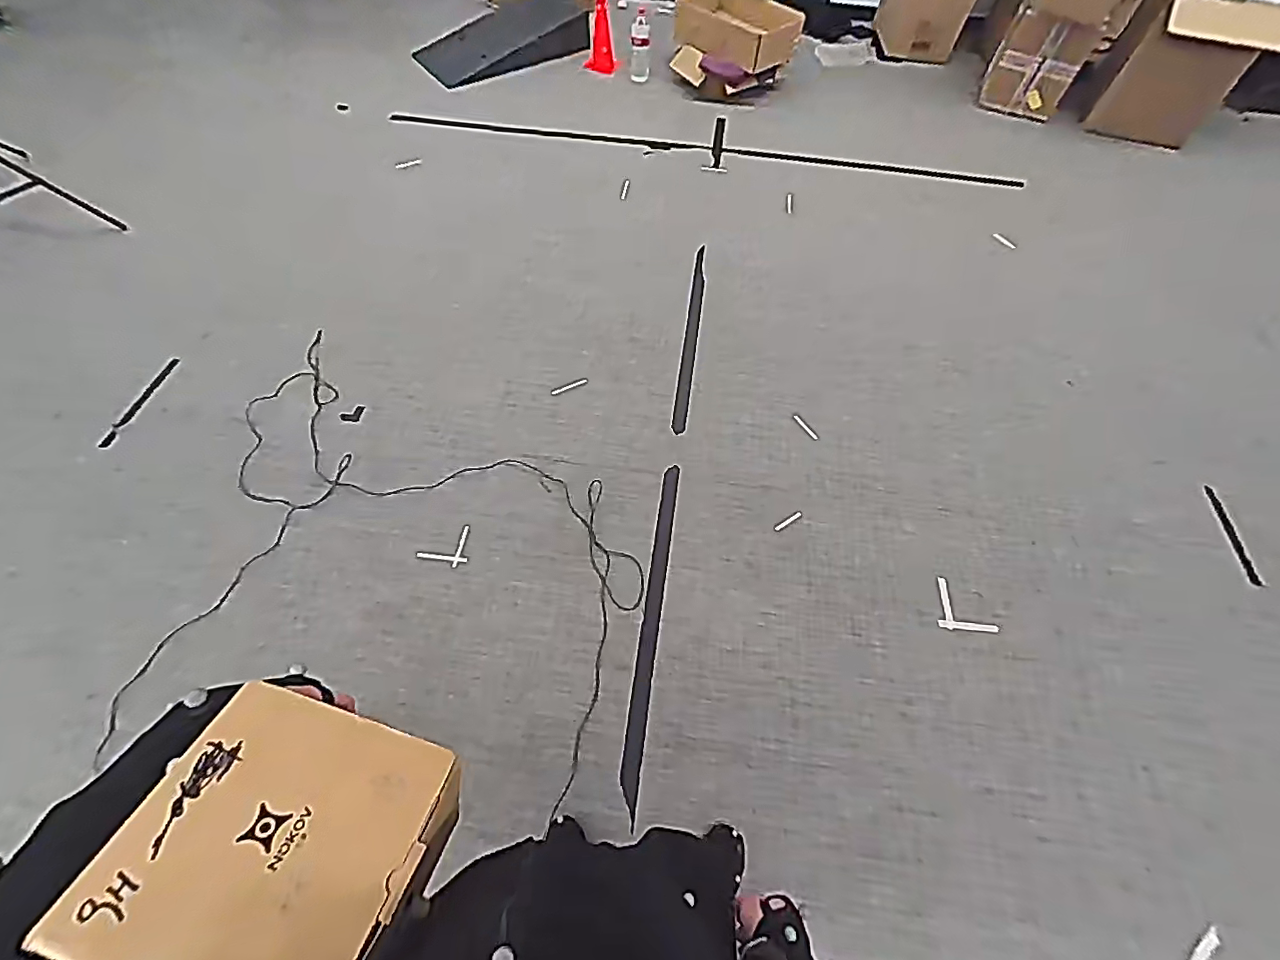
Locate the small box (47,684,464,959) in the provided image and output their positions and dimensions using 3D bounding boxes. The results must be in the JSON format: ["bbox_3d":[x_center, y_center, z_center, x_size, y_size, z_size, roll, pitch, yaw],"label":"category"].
[{"bbox_3d":[-0.255,0.294,0.415,0.179,0.176,0.168,20,42,1],"label":"small box"}]
